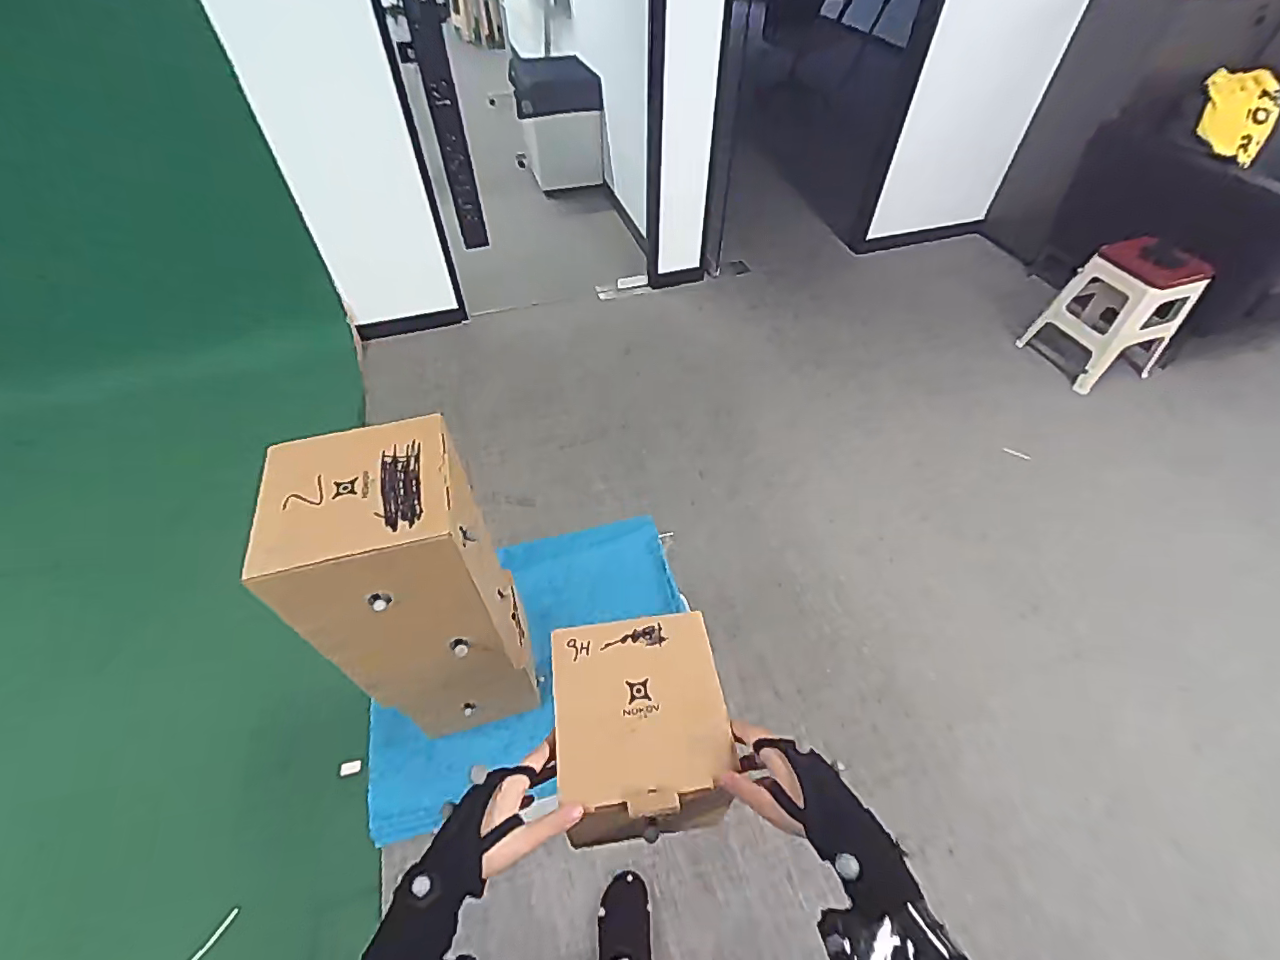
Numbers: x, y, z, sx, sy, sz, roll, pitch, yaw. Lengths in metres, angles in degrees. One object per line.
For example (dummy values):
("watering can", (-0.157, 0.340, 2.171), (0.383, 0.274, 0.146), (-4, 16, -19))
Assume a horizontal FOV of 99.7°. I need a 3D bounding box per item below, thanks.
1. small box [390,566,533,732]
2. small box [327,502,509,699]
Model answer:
("small box", (-0.265, 0.260, 0.826), (0.179, 0.176, 0.168), (-13, 51, -11))
("small box", (-0.272, 0.157, 0.697), (0.179, 0.176, 0.168), (-12, 50, -11))
